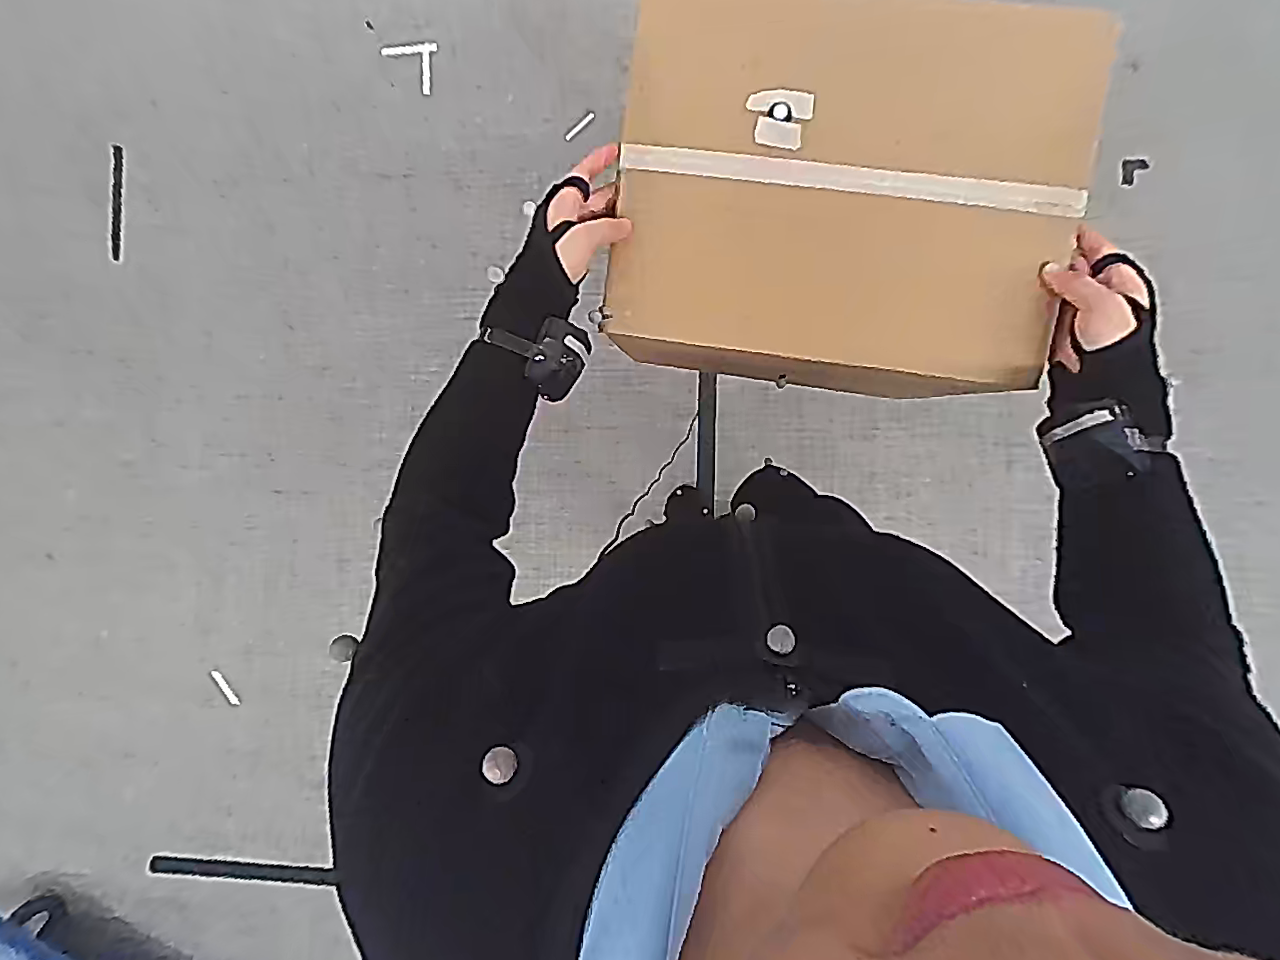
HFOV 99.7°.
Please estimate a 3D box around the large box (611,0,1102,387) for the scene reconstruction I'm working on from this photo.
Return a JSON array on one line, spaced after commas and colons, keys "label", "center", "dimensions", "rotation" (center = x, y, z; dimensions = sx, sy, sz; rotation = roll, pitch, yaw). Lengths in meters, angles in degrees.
[{"label": "large box", "center": [0.200, -0.289, 0.643], "dimensions": [0.408, 0.320, 0.320], "rotation": [8, 96, 4]}]
